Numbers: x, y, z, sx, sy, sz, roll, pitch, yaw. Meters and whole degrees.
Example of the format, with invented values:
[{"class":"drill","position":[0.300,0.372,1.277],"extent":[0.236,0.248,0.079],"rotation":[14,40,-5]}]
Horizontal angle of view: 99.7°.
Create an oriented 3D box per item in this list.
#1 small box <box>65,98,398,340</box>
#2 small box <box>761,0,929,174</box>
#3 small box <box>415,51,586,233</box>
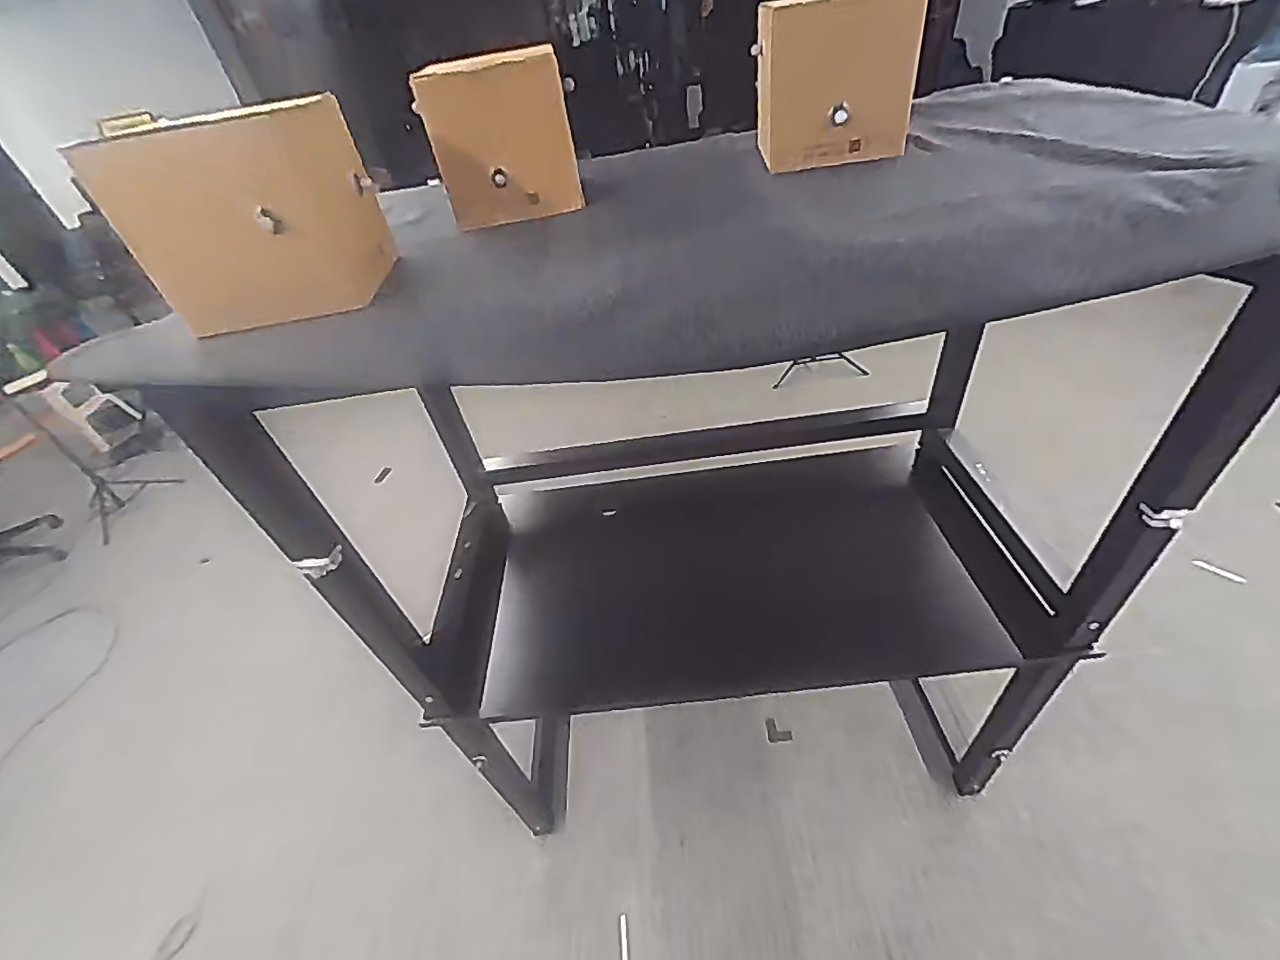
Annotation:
[{"class":"small box","position":[-0.369,-0.259,0.539],"extent":[0.179,0.176,0.168],"rotation":[-10,40,-1]},{"class":"small box","position":[0.247,-0.514,0.701],"extent":[0.168,0.176,0.179],"rotation":[-4,42,9]},{"class":"small box","position":[-0.171,-0.445,0.714],"extent":[0.168,0.176,0.179],"rotation":[-11,42,-1]}]
